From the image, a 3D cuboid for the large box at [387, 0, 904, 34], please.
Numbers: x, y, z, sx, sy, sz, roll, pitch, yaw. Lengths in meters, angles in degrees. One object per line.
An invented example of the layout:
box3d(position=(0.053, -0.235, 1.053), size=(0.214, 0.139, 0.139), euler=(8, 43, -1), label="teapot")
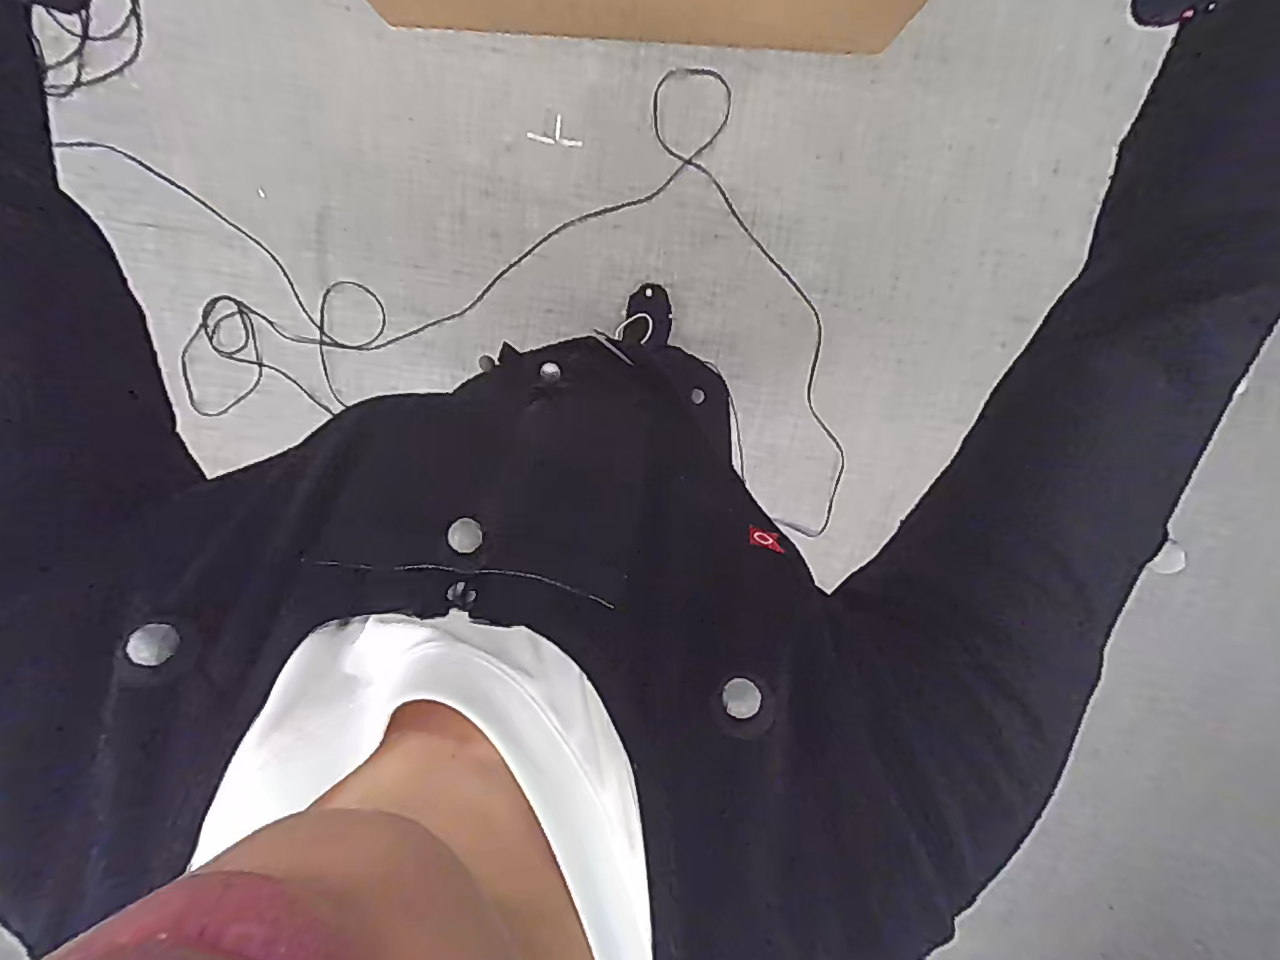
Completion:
box3d(position=(0.005, -0.473, 0.258), size=(0.408, 0.320, 0.320), euler=(2, 107, -1), label="large box")
